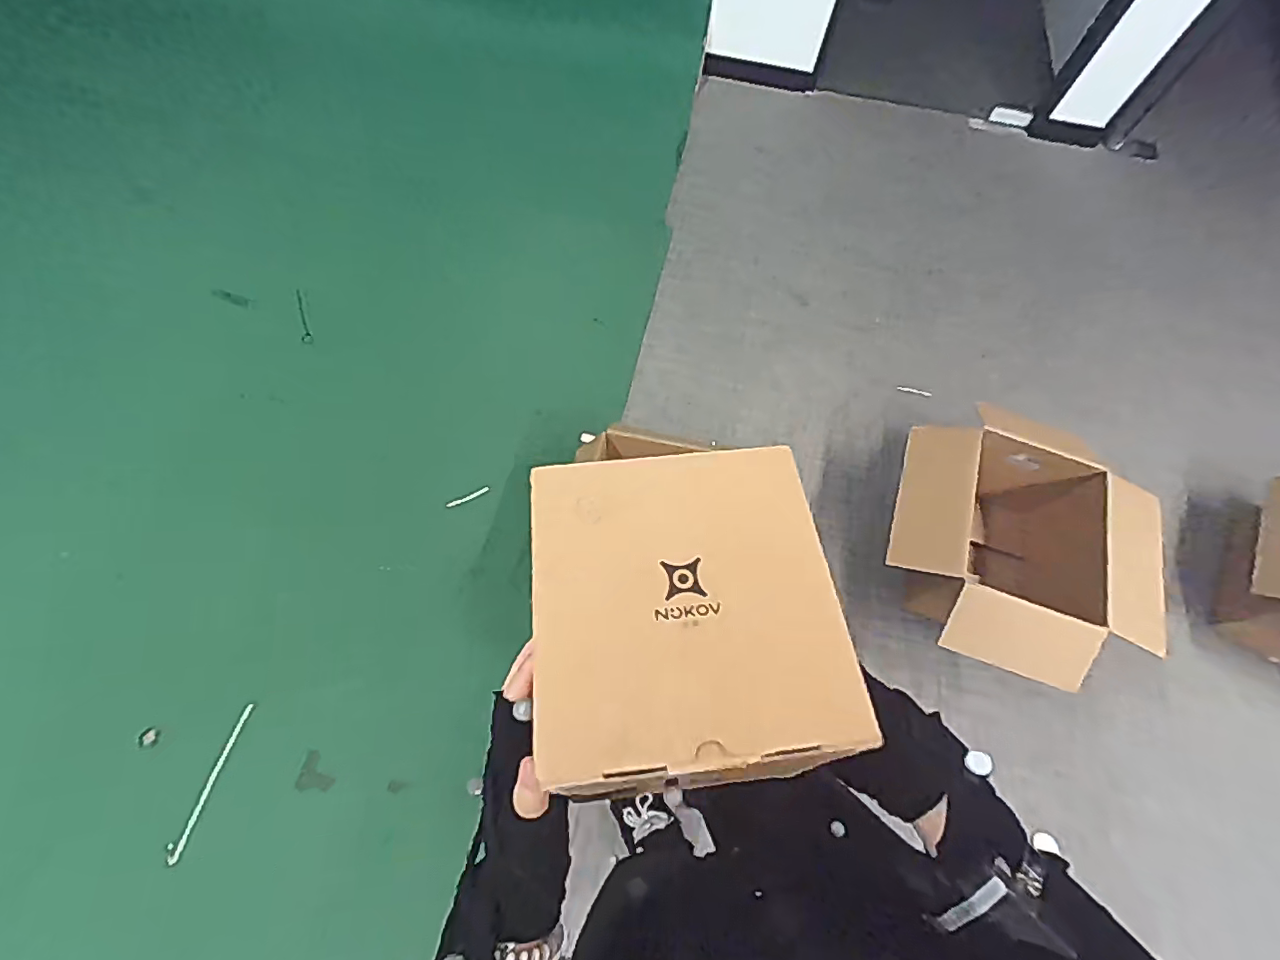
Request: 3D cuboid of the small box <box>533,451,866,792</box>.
[{"bbox_3d":[0.020,0.103,0.372,0.168,0.176,0.179,-6,59,-4],"label":"small box"}]
